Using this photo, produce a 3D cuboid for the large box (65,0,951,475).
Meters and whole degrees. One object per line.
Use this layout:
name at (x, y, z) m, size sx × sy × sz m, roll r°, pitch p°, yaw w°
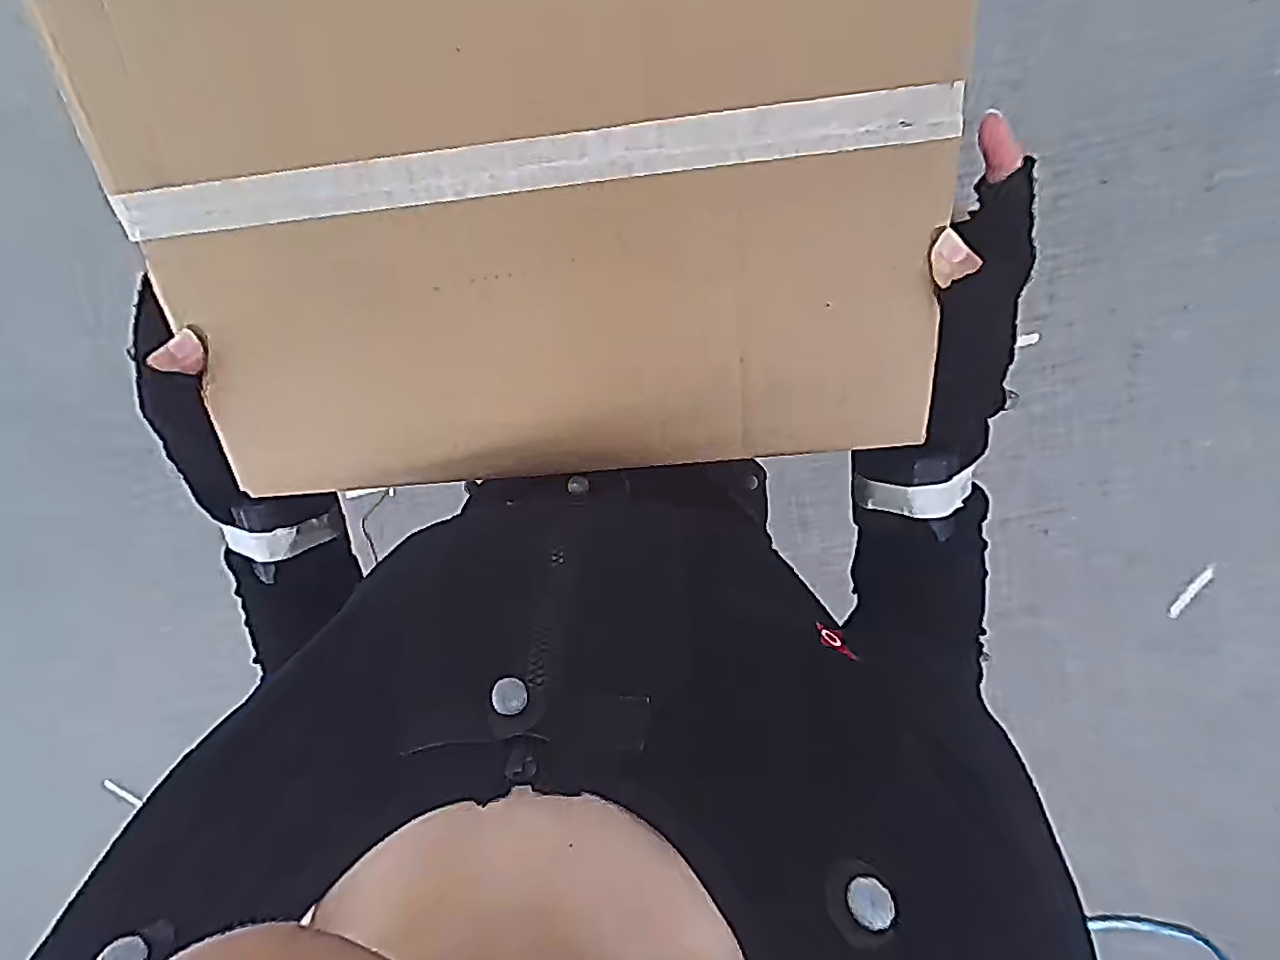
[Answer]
large box at (-0.054, -0.219, 0.401) m, size 0.408 × 0.320 × 0.320 m, roll -5°, pitch 114°, yaw 4°
